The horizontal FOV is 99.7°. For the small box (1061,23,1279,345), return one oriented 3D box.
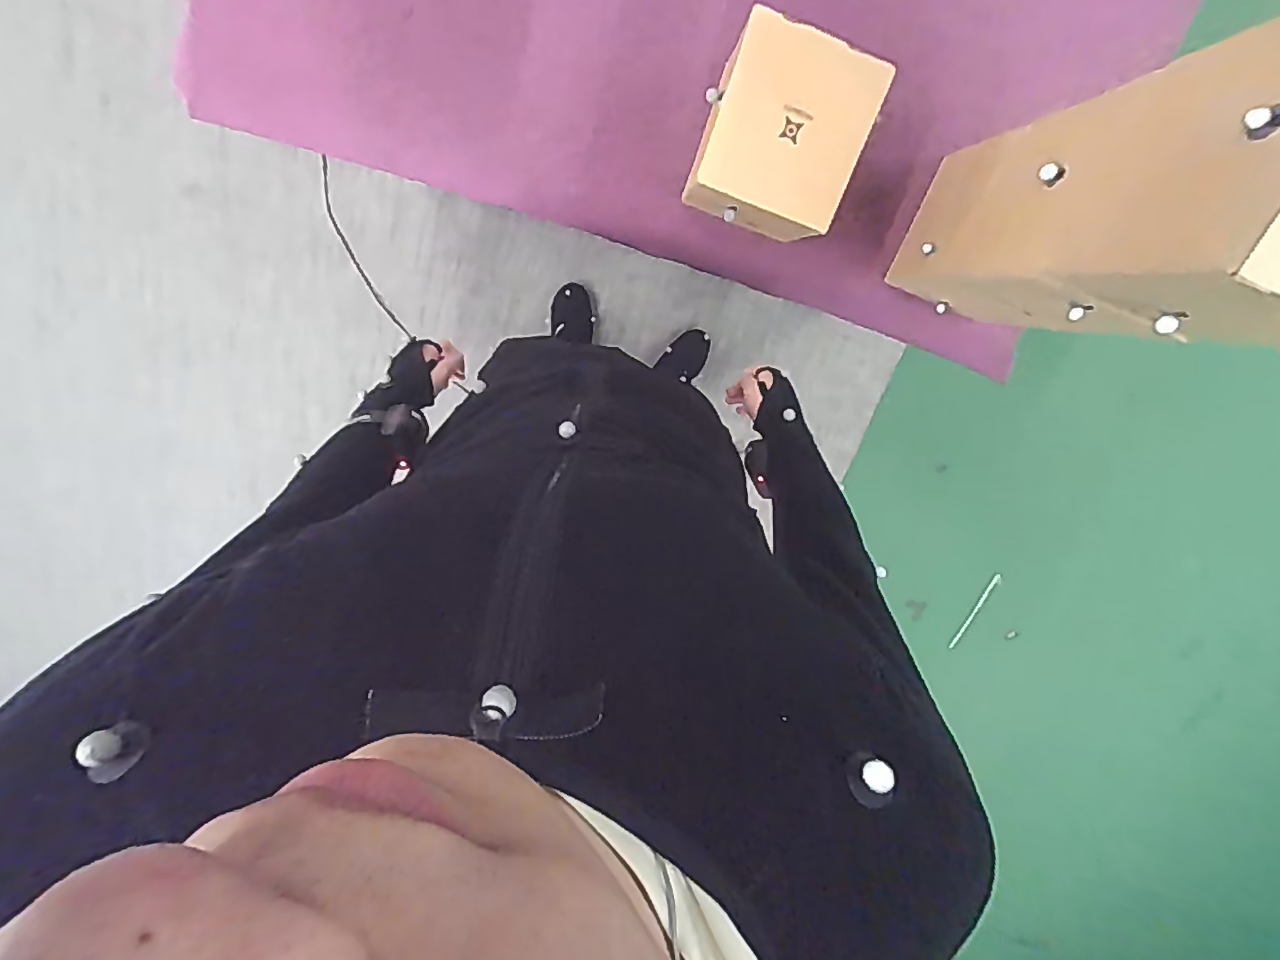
[{"bbox_3d":[0.469,-0.208,0.392,0.168,0.176,0.179,19,109,-6],"label":"small box"}]

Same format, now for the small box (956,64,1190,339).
[{"bbox_3d":[0.467,-0.261,0.548,0.168,0.176,0.179,20,108,-6],"label":"small box"}]

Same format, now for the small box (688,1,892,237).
[{"bbox_3d":[0.164,-0.416,0.664,0.168,0.176,0.179,18,108,-7],"label":"small box"}]
